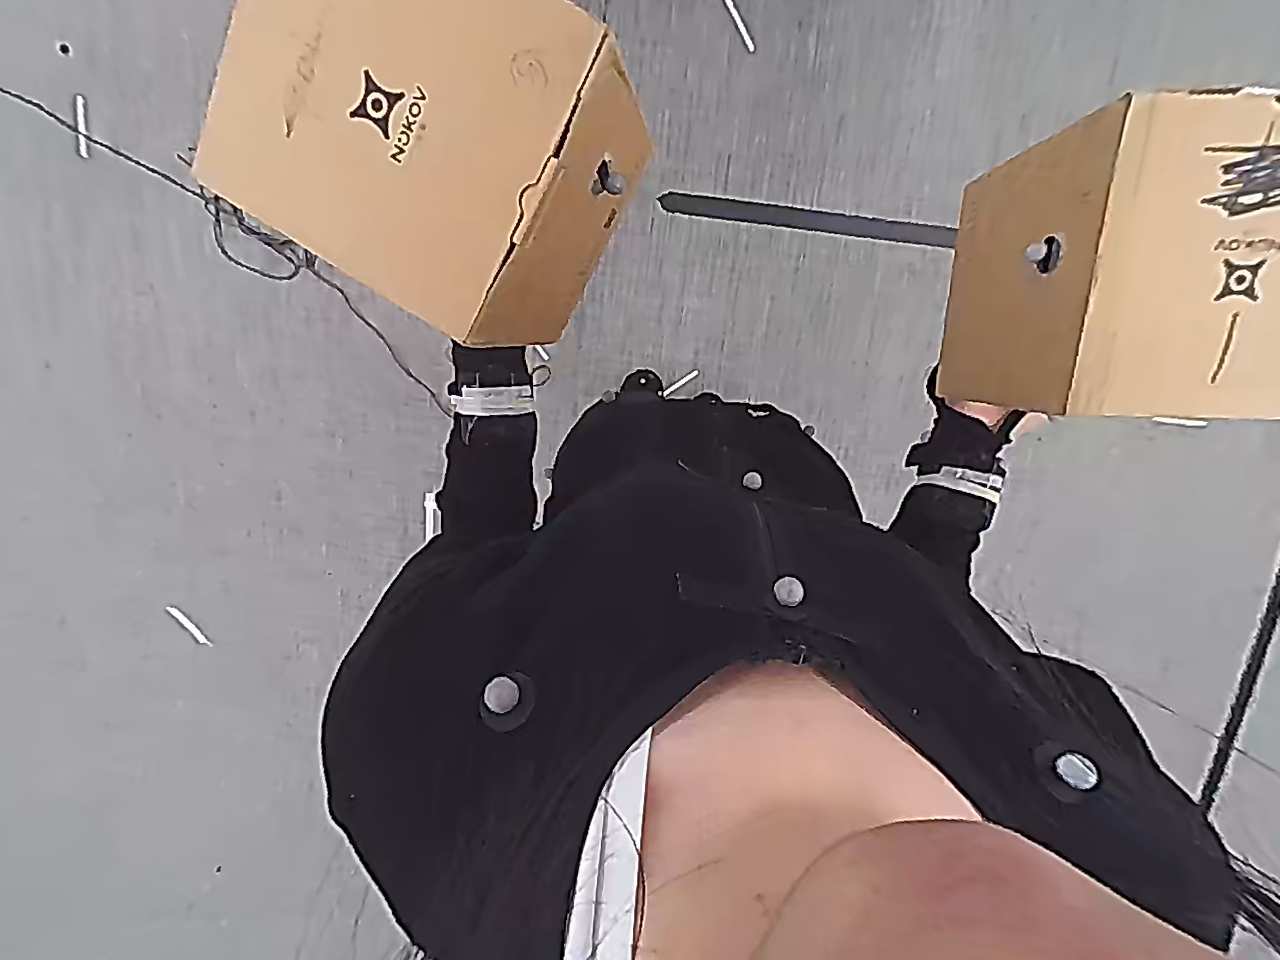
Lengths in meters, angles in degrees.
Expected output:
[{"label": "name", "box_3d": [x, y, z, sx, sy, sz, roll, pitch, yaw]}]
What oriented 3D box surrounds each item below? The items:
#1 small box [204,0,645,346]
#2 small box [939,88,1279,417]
[{"label": "small box", "box_3d": [-0.112, -0.204, 0.349, 0.179, 0.176, 0.168, 31, 106, 0]}, {"label": "small box", "box_3d": [0.343, -0.142, 0.387, 0.168, 0.176, 0.179, 2, 104, 3]}]
